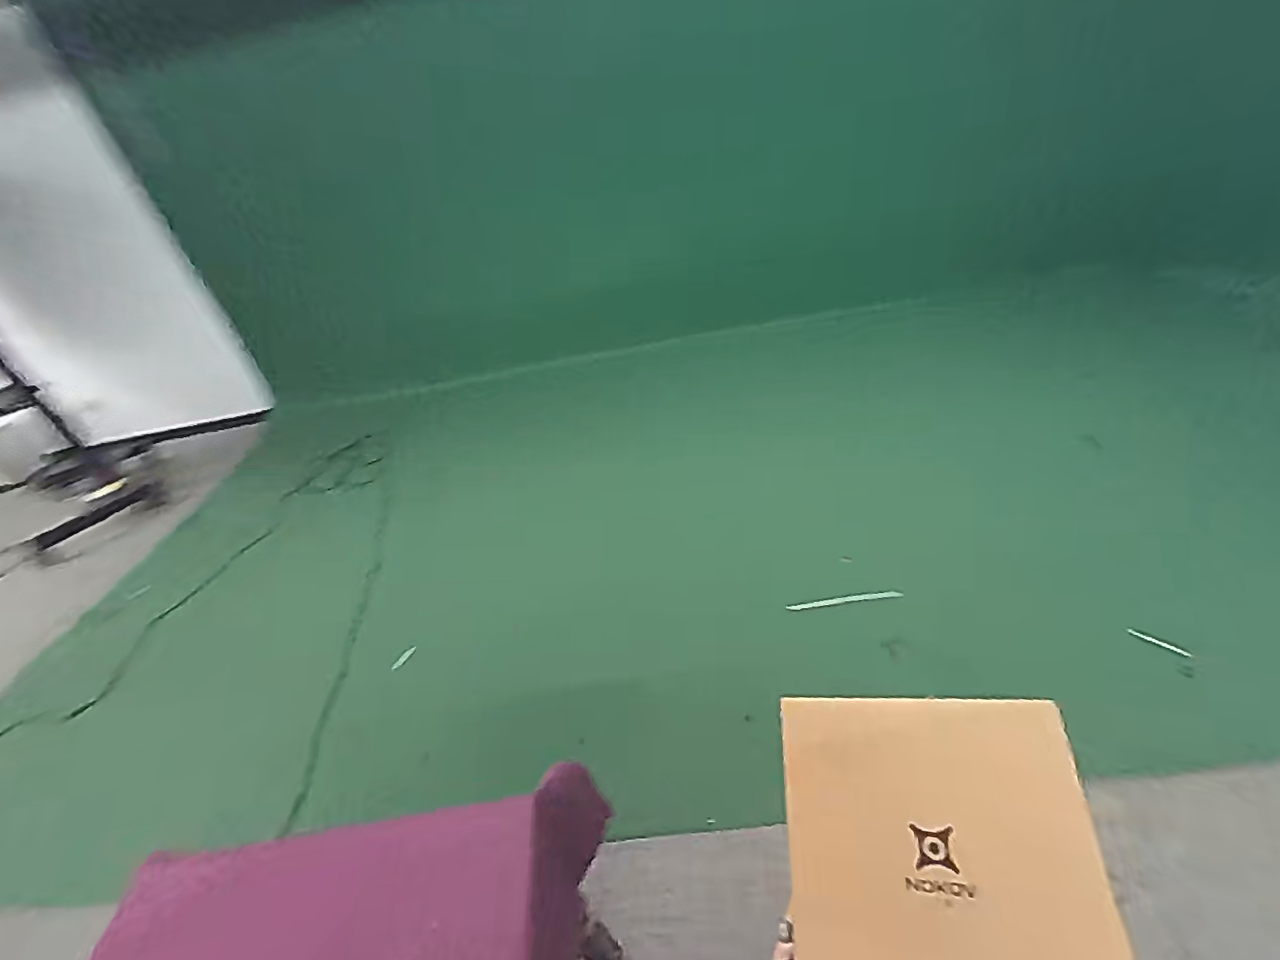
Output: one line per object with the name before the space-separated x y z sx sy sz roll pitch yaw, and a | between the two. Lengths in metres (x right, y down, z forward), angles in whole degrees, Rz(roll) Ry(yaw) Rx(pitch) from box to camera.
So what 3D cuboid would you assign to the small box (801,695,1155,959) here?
small box | 0.206 0.256 0.374 0.168 0.176 0.179 -7 59 19
